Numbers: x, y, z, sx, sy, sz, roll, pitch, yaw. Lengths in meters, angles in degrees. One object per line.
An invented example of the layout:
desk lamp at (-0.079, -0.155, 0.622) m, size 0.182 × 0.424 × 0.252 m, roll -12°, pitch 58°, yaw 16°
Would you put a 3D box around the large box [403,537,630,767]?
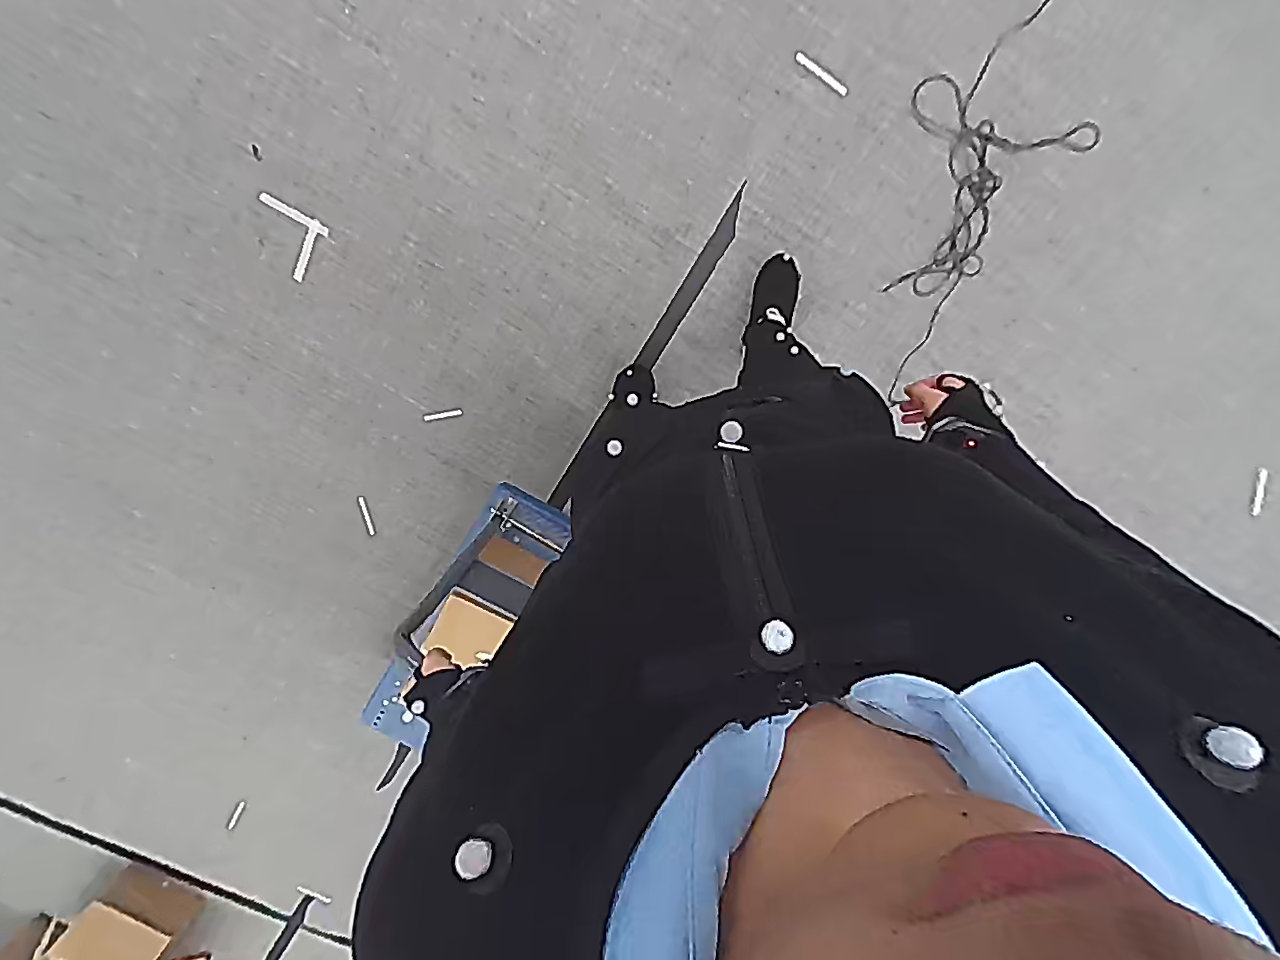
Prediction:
large box at (-0.273, 0.401, 1.315) m, size 0.408 × 0.320 × 0.320 m, roll 28°, pitch 105°, yaw -6°
